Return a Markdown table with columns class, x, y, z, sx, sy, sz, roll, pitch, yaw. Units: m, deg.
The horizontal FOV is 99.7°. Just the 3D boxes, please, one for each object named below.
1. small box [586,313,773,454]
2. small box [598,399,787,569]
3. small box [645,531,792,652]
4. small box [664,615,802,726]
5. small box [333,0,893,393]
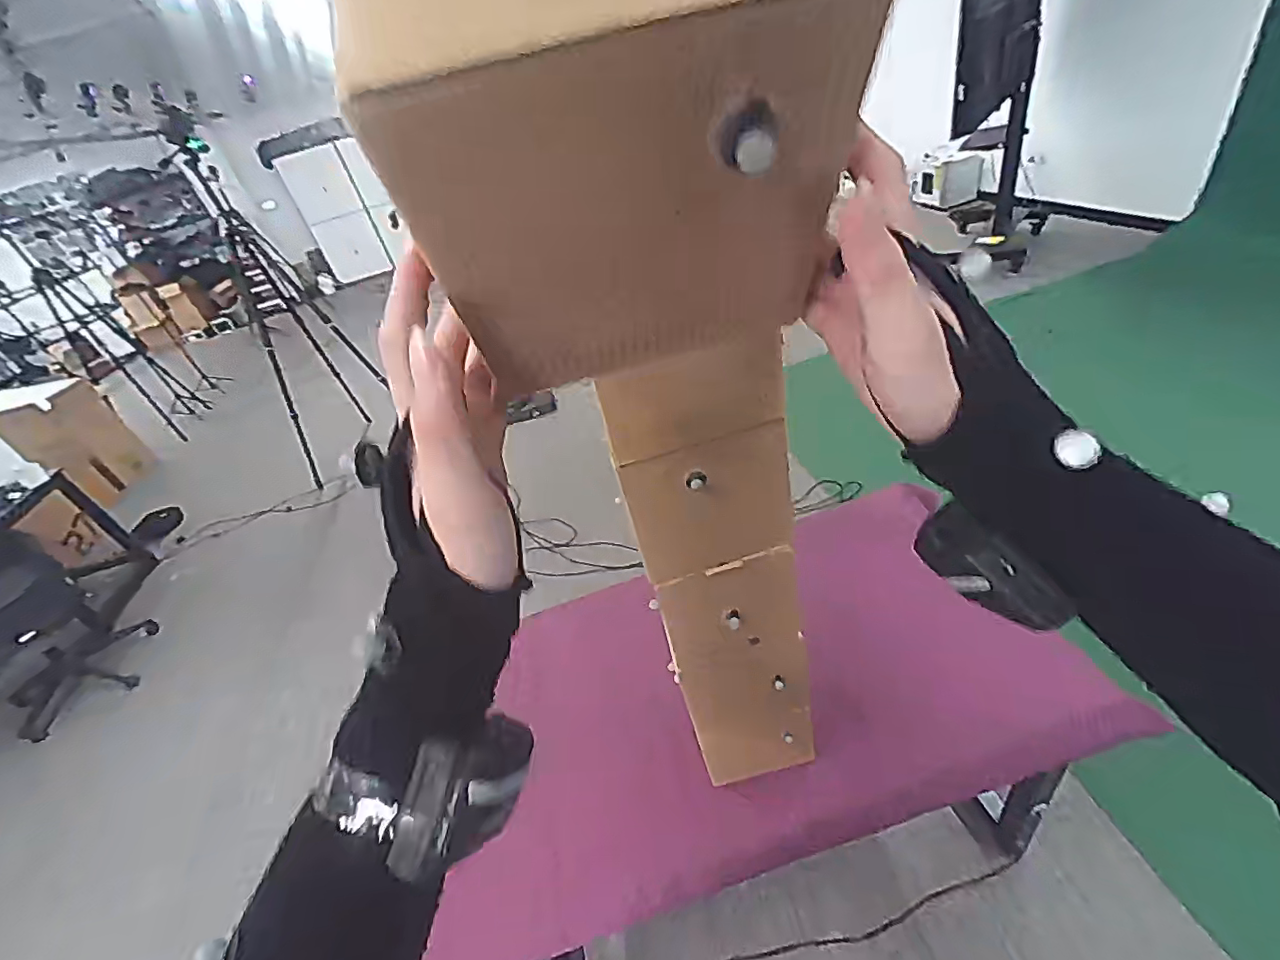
| class | x | y | z | sx | sy | sz | roll | pitch | yaw |
| --- | --- | --- | --- | --- | --- | --- | --- | --- | --- |
| small box | 0.026 | -0.150 | 0.544 | 0.179 | 0.176 | 0.168 | -16 | 35 | 0 |
| small box | 0.059 | -0.021 | 0.636 | 0.179 | 0.176 | 0.168 | -16 | 35 | -1 |
| small box | 0.096 | 0.109 | 0.730 | 0.168 | 0.176 | 0.179 | -15 | 36 | 1 |
| small box | 0.135 | 0.240 | 0.820 | 0.179 | 0.176 | 0.168 | -16 | 36 | 1 |
| small box | -0.019 | -0.167 | 0.265 | 0.179 | 0.176 | 0.168 | -15 | 68 | -1 |
